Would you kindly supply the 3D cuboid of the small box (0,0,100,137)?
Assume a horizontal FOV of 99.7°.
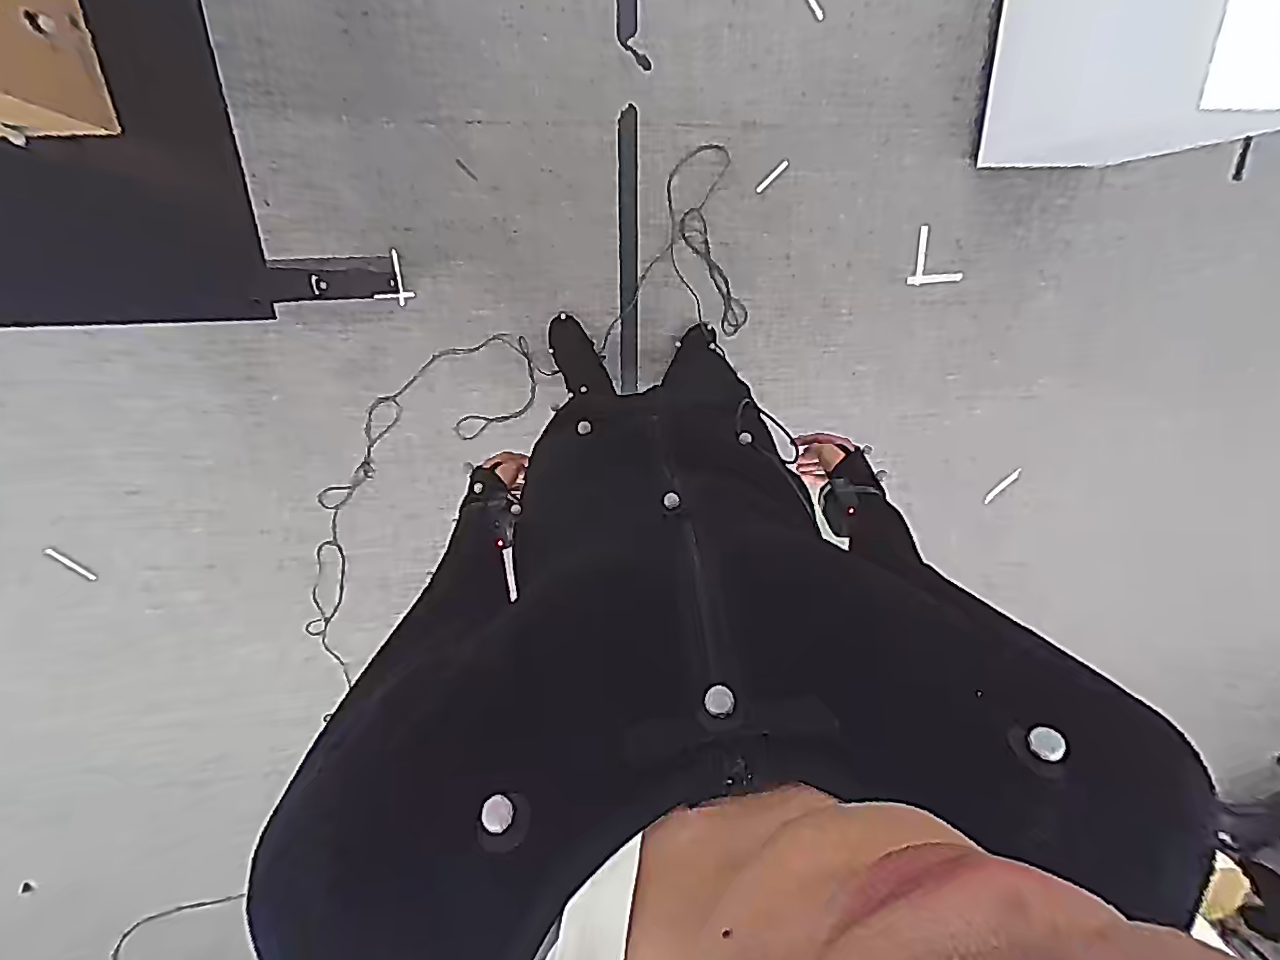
[{"bbox_3d":[-0.699,-0.453,0.531,0.179,0.176,0.168,-6,110,-7],"label":"small box"}]
